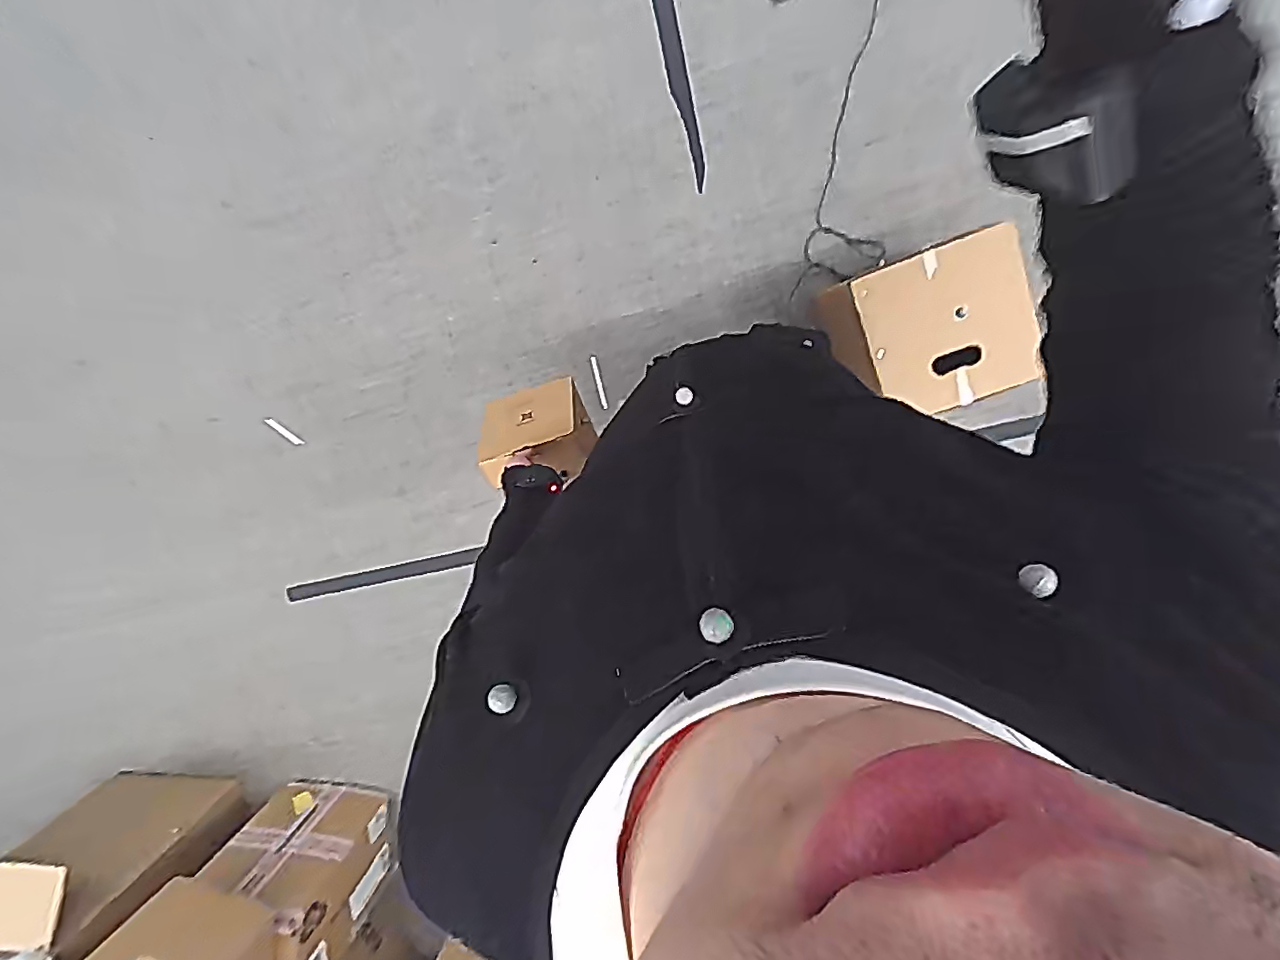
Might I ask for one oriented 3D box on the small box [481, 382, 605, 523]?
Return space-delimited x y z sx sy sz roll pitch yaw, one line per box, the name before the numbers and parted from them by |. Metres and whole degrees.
small box | -0.167 -0.042 0.973 0.168 0.179 0.176 -16 131 5
